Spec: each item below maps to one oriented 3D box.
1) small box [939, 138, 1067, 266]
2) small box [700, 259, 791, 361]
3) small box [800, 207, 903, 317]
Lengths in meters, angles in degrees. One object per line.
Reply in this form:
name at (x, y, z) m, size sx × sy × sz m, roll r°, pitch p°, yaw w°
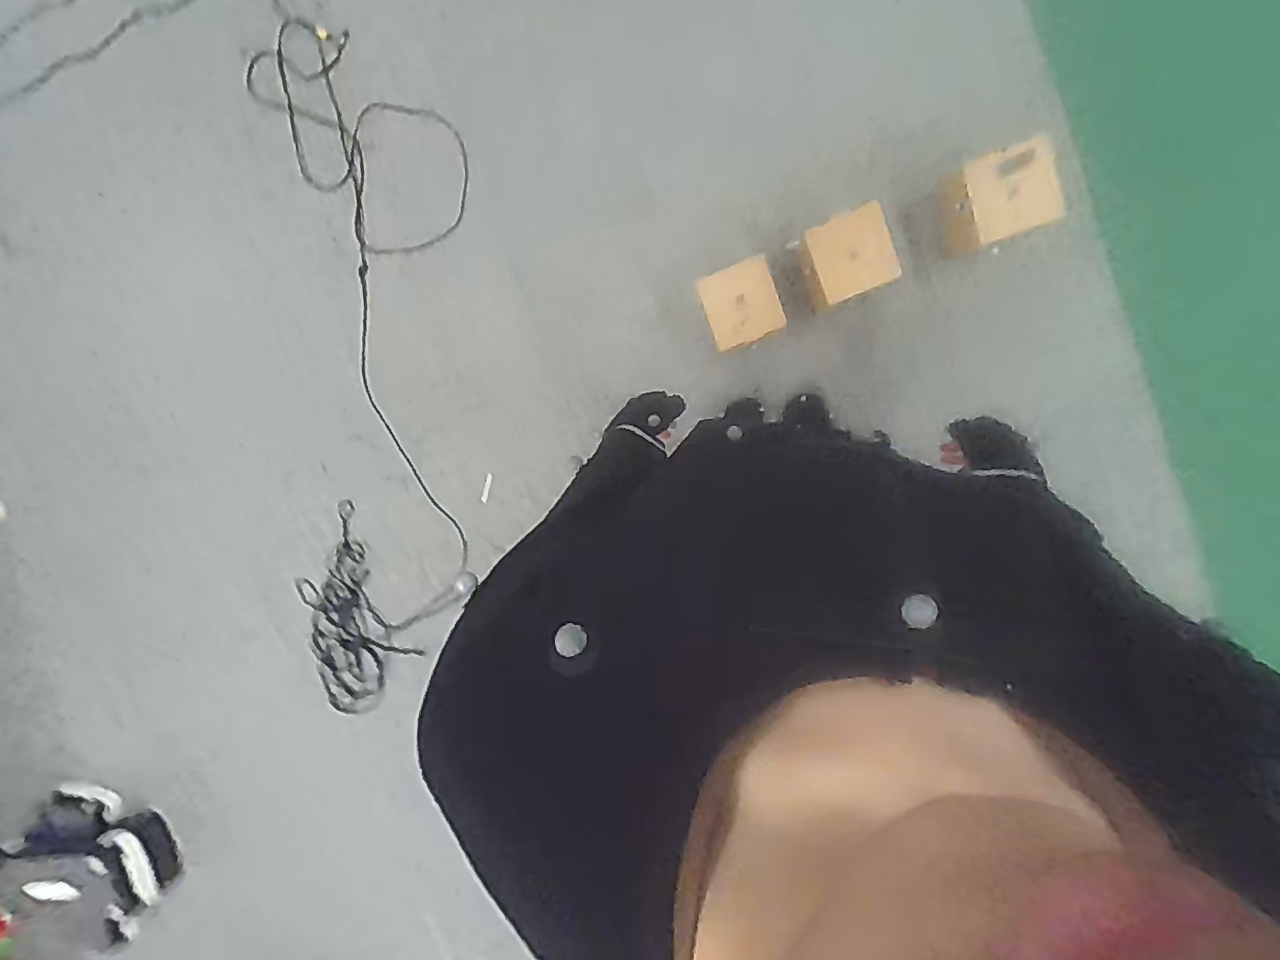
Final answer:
small box at (0.787, -0.601, 1.192) m, size 0.168 × 0.176 × 0.179 m, roll -17°, pitch 95°, yaw 13°
small box at (0.256, -0.405, 1.321) m, size 0.168 × 0.176 × 0.179 m, roll -20°, pitch 94°, yaw 14°
small box at (0.487, -0.496, 1.266) m, size 0.168 × 0.176 × 0.179 m, roll -21°, pitch 93°, yaw 13°
